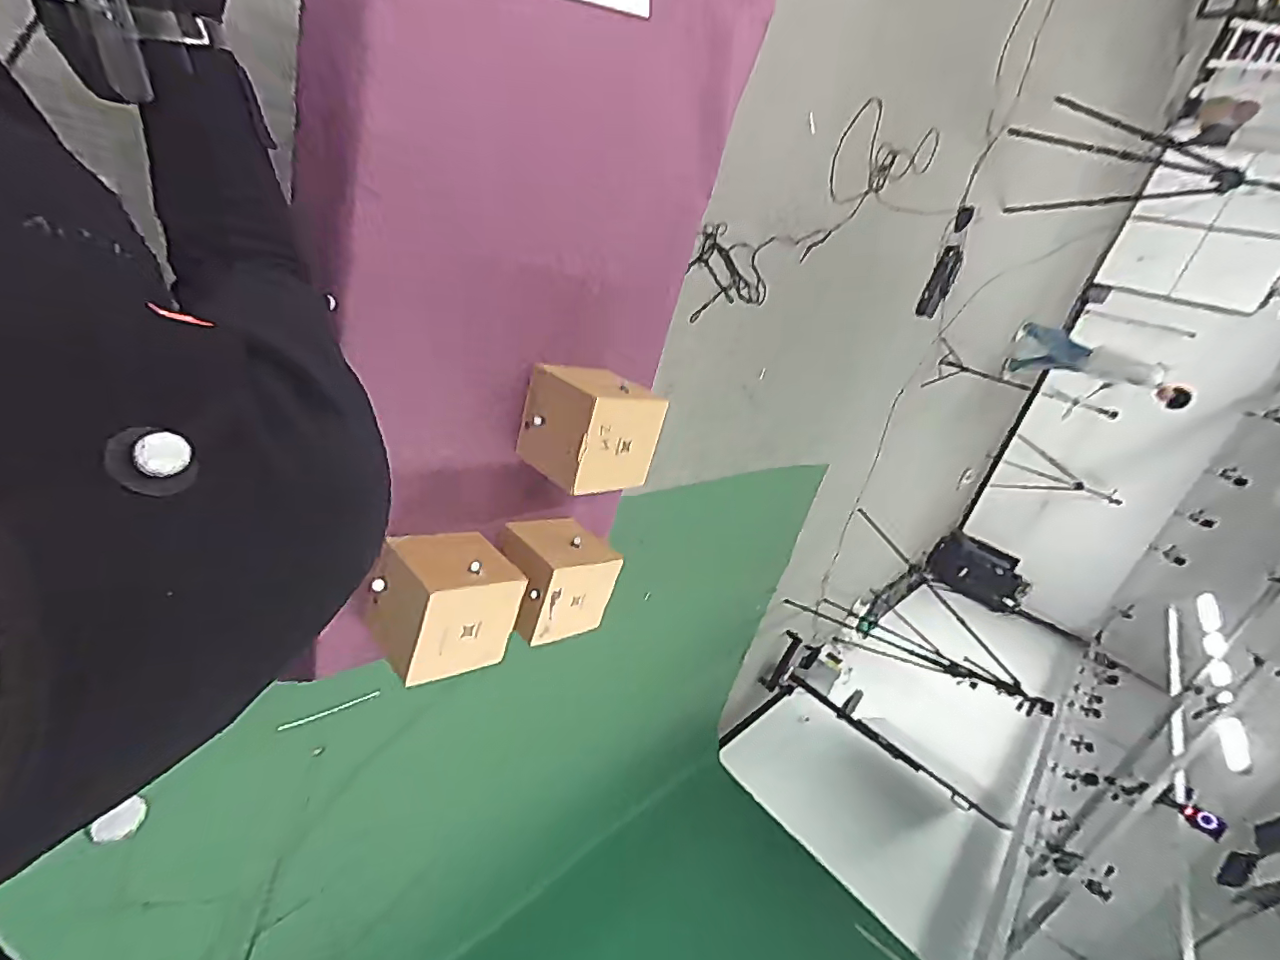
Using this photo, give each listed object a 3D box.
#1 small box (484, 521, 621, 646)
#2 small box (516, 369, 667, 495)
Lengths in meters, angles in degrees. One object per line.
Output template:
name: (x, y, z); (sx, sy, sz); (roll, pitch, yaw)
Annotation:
small box: (-0.174, 0.191, 1.062); (0.179, 0.176, 0.168); (-1, 116, -50)
small box: (-0.088, -0.089, 0.952); (0.179, 0.176, 0.168); (-6, 121, -47)
